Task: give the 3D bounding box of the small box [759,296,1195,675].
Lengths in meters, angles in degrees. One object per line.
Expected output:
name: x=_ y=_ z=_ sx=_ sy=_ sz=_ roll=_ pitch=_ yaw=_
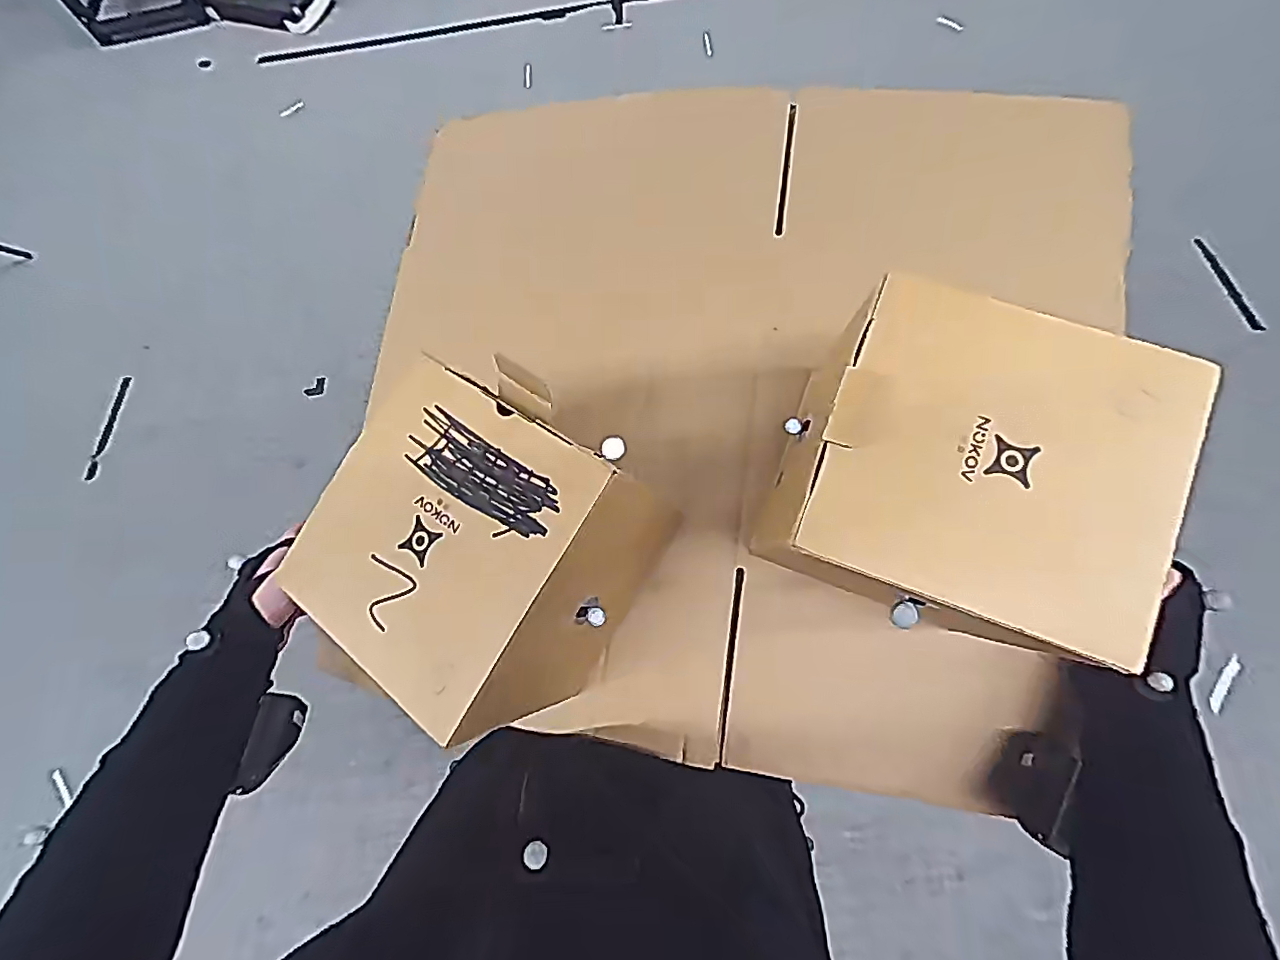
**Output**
small box: x=0.196 y=0.007 z=0.372 sx=0.179 sy=0.176 sz=0.168 roll=20 pitch=84 yaw=8
